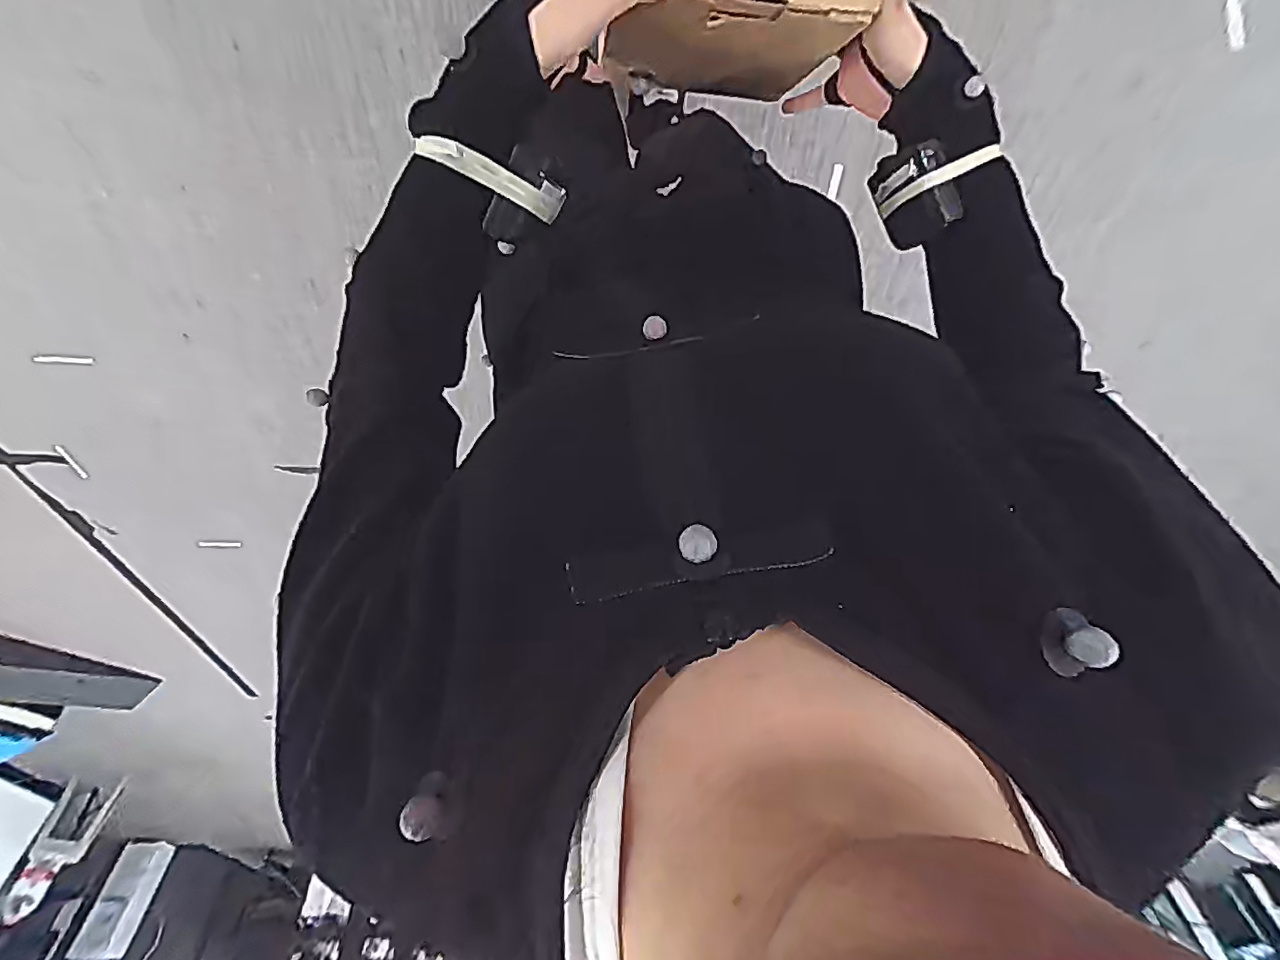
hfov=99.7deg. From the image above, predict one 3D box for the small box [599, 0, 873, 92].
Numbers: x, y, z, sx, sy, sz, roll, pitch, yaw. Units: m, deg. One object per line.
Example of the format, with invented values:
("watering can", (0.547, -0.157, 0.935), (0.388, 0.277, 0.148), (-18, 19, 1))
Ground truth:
("small box", (0.061, -0.402, 0.375), (0.168, 0.176, 0.179), (1, 109, -9))
